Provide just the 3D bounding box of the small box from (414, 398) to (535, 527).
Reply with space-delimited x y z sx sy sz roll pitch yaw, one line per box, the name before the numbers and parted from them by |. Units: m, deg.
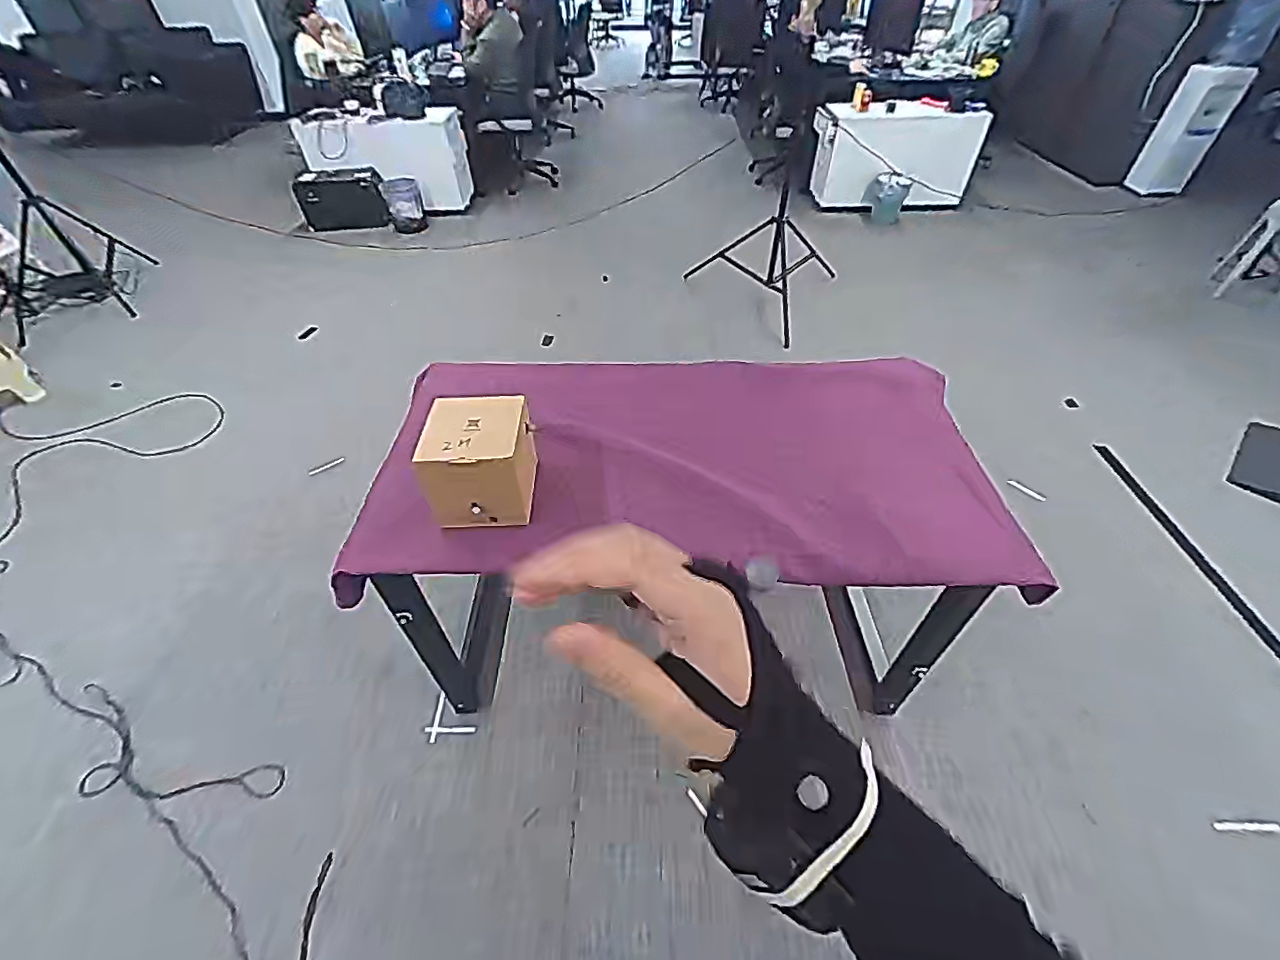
small box | -0.291 -0.032 0.999 0.168 0.176 0.179 -2 45 -1
